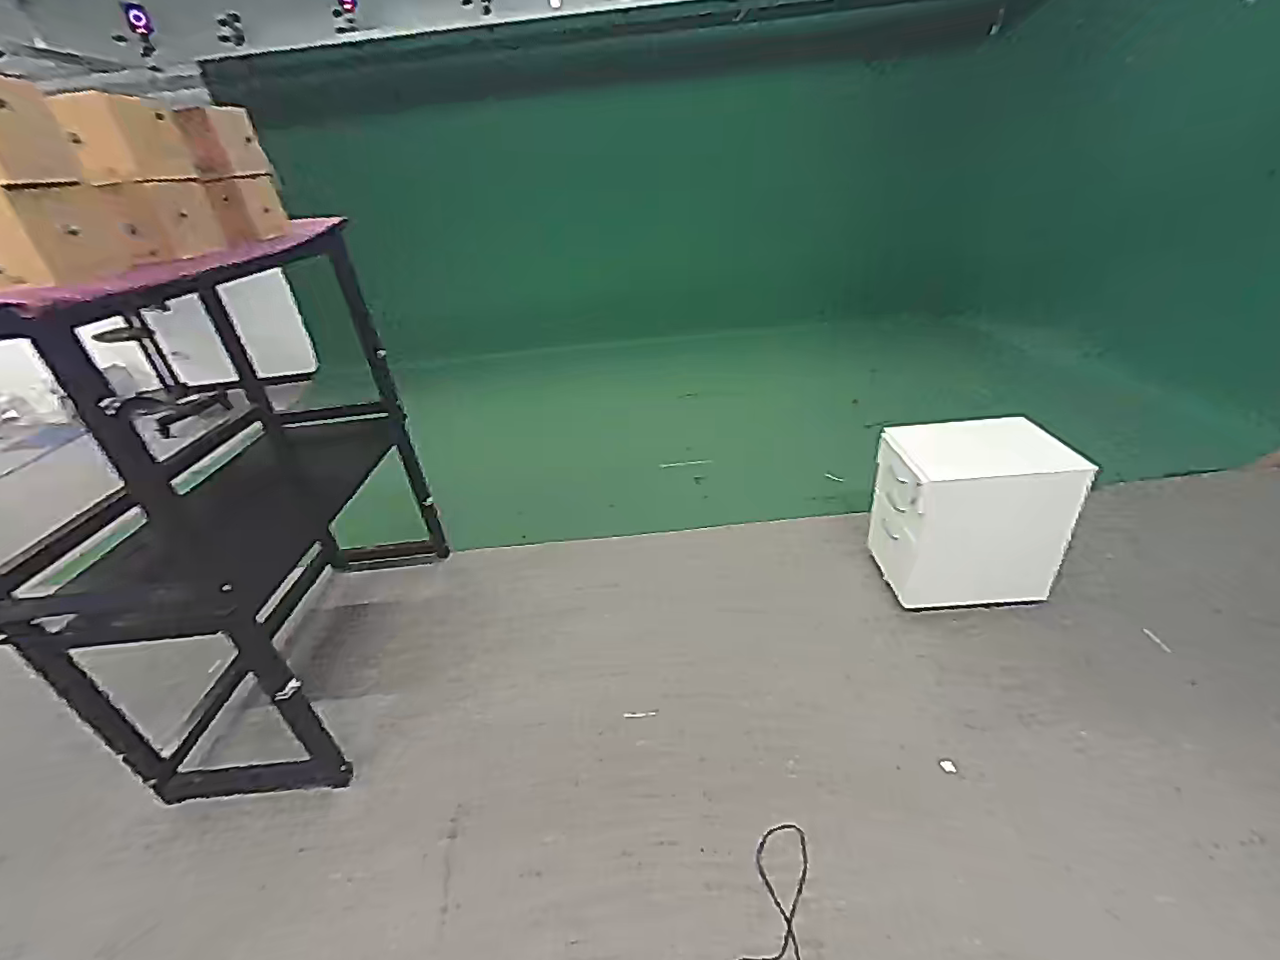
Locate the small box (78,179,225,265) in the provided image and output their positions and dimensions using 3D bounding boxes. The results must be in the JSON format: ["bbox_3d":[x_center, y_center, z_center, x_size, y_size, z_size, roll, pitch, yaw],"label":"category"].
[{"bbox_3d":[-1.171,-0.626,1.317,0.168,0.176,0.179,-5,31,2],"label":"small box"}]

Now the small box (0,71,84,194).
[{"bbox_3d":[-1.151,-0.600,0.939,0.168,0.176,0.179,-7,30,-3],"label":"small box"}]

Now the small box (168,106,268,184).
[{"bbox_3d":[-1.196,-0.936,1.522,0.168,0.176,0.179,-8,33,3],"label":"small box"}]

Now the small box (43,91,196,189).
[{"bbox_3d":[-1.182,-0.768,1.238,0.168,0.176,0.179,-4,29,5],"label":"small box"}]

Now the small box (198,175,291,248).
[{"bbox_3d":[-1.191,-0.799,1.610,0.179,0.176,0.168,-6,31,3],"label":"small box"}]
